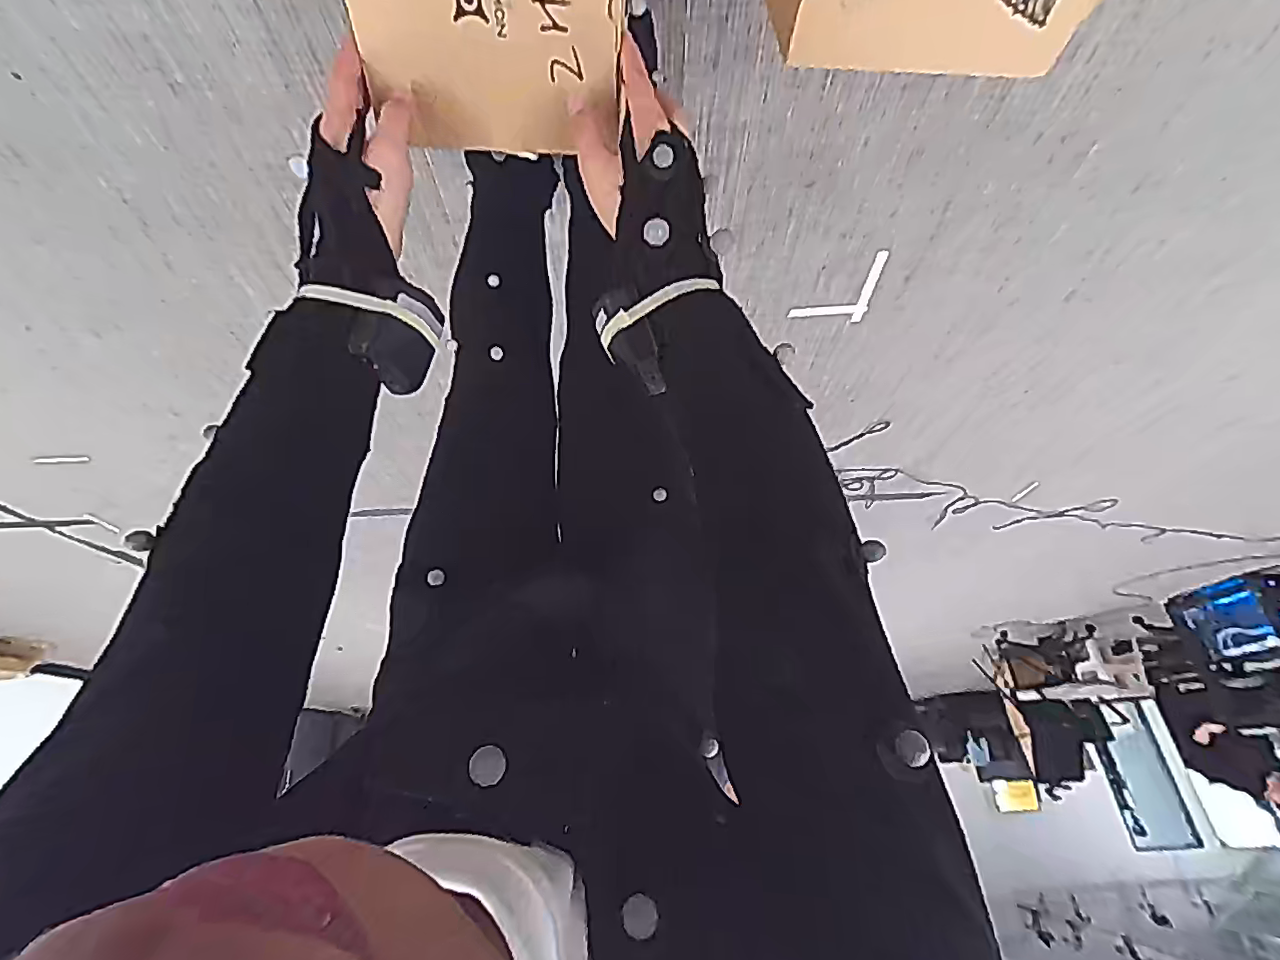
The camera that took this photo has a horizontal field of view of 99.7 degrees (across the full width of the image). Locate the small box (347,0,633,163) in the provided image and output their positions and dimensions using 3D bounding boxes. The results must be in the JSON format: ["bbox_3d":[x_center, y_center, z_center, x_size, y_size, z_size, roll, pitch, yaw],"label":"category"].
[{"bbox_3d":[-0.095,-0.349,0.395,0.179,0.176,0.168,2,134,-2],"label":"small box"}]

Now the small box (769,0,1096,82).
[{"bbox_3d":[0.181,-0.370,0.315,0.179,0.176,0.168,-1,151,-4],"label":"small box"}]
